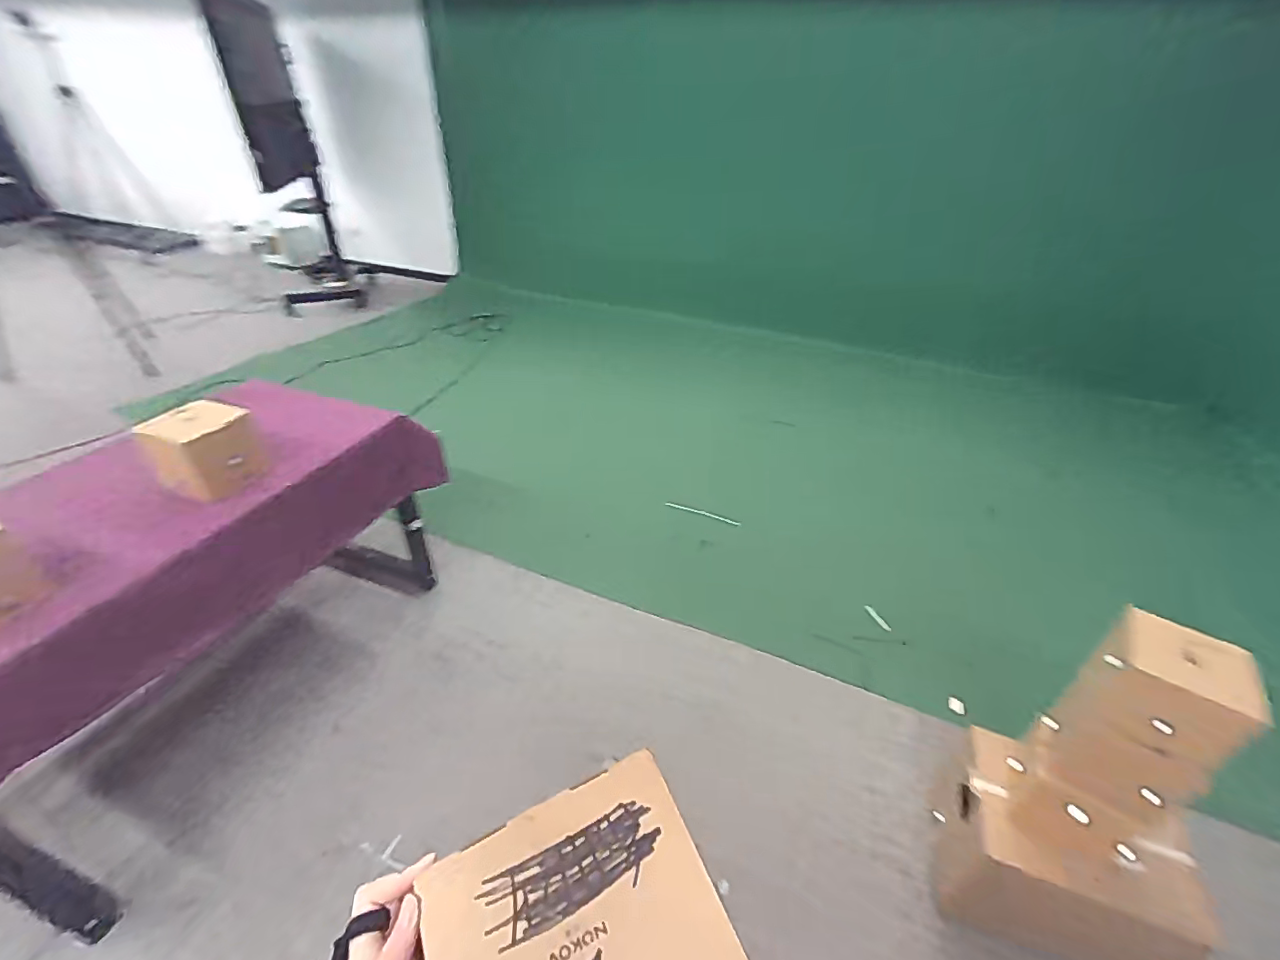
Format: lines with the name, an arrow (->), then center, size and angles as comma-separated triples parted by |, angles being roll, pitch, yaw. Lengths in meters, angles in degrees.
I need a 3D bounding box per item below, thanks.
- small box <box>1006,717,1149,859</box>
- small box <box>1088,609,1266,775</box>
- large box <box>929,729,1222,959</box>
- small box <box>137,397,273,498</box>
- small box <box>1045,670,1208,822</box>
small box -> 0.906, 0.648, 1.132 | 0.179, 0.176, 0.168 | 22, 39, 26
small box -> 0.930, 0.373, 0.955 | 0.168, 0.176, 0.179 | 25, 40, 29
large box -> 0.940, 0.862, 1.251 | 0.408, 0.320, 0.320 | 16, 37, 16
small box -> -1.048, -0.078, 1.321 | 0.179, 0.176, 0.168 | 15, 37, 17
small box -> 0.923, 0.514, 1.040 | 0.179, 0.176, 0.168 | 24, 39, 29
